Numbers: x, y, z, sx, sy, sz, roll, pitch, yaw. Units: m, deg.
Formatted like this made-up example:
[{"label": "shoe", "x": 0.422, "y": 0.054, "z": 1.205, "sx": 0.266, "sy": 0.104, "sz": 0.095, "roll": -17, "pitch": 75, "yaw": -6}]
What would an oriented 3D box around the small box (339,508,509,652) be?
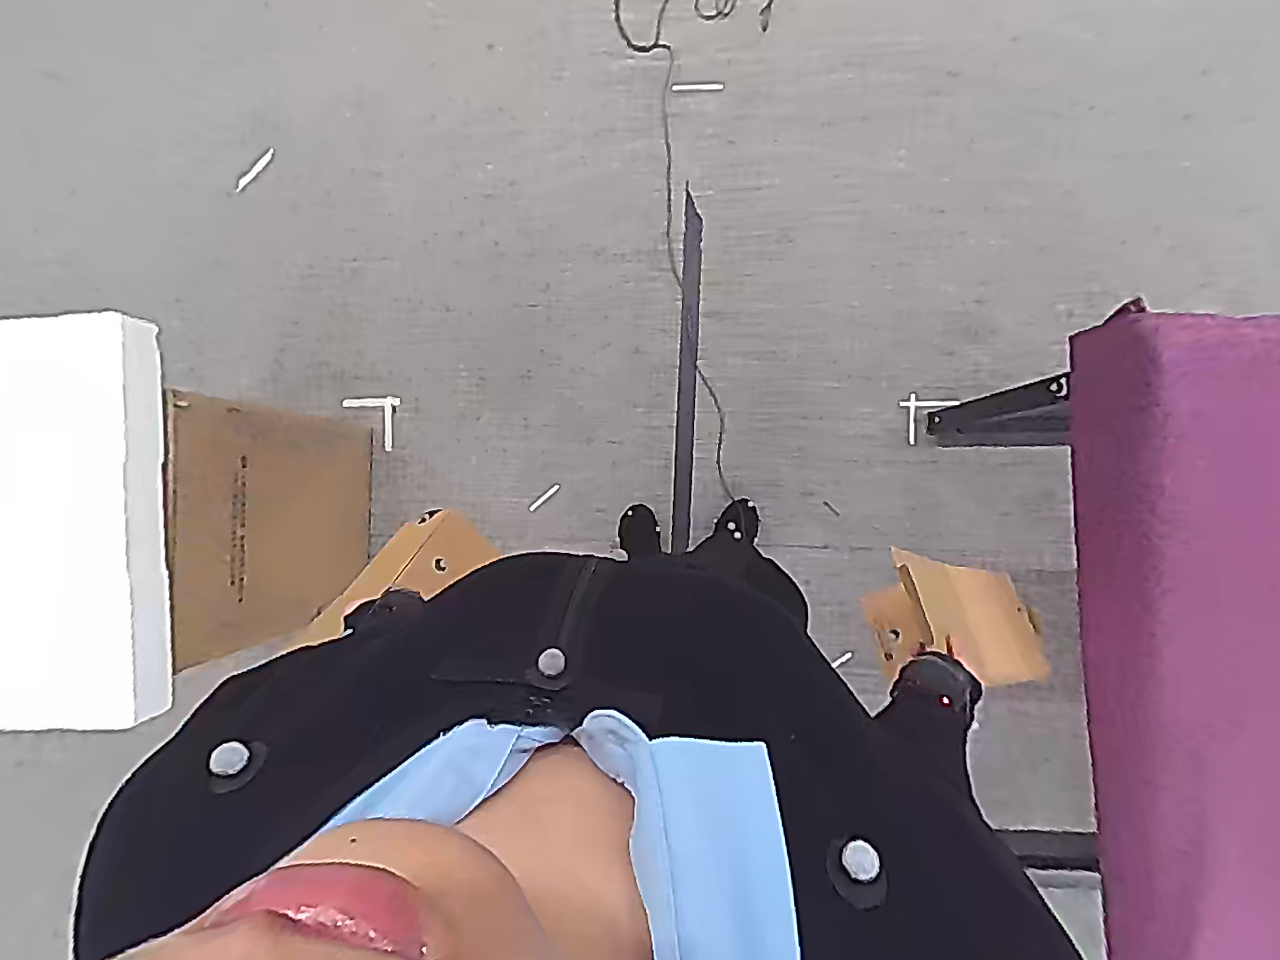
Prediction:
[{"label": "small box", "x": -0.358, "y": 0.177, "z": 0.924, "sx": 0.168, "sy": 0.179, "sz": 0.176, "roll": -15, "pitch": 123, "yaw": 35}]
